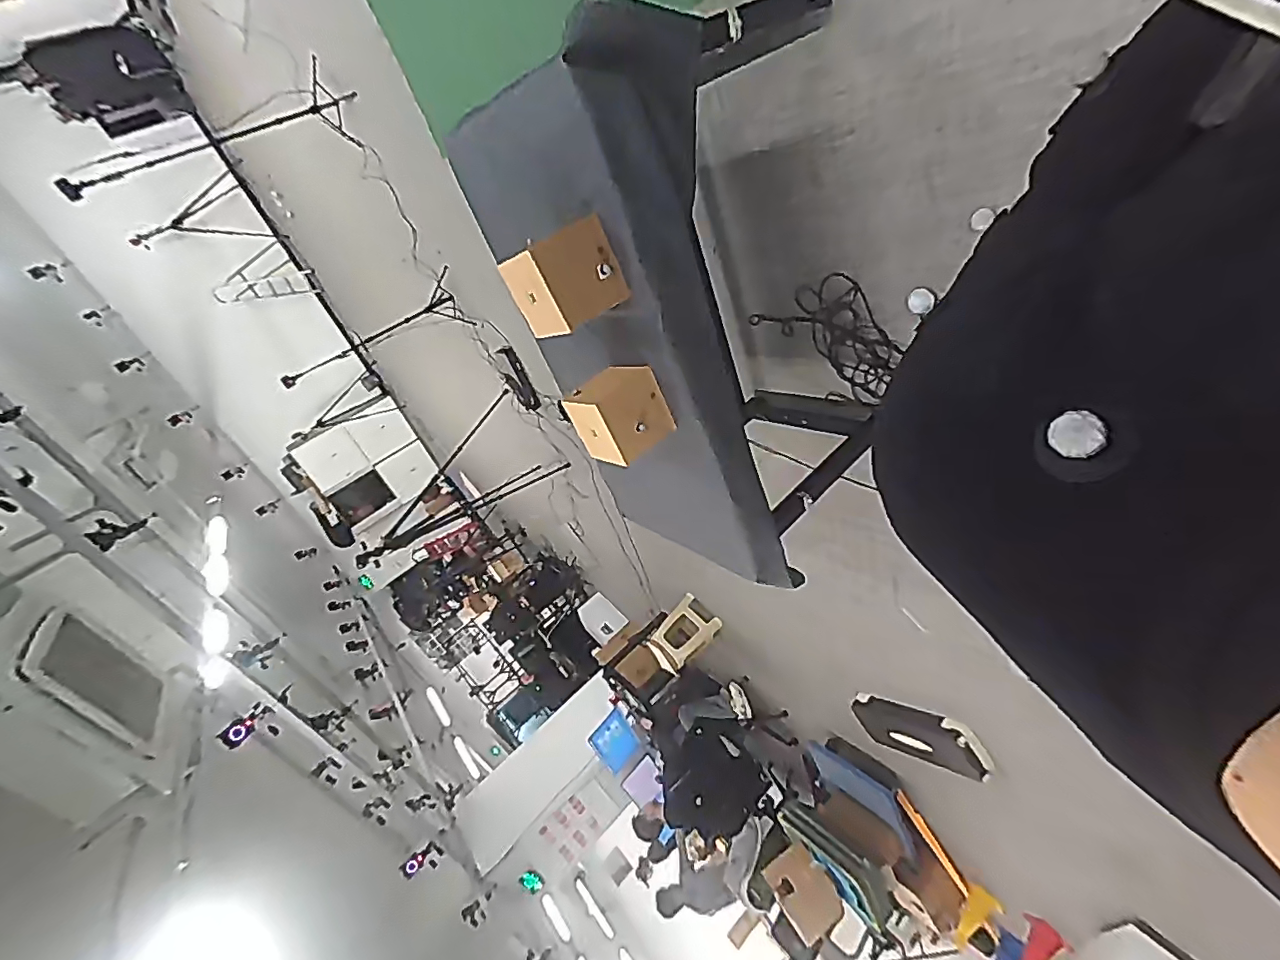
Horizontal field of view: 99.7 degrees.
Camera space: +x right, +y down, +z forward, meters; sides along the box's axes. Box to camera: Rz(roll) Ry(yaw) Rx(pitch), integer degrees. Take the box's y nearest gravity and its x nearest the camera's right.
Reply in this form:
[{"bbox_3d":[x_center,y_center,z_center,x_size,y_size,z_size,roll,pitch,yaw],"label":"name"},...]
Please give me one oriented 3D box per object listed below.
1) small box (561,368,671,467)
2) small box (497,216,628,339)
[{"bbox_3d":[-0.048,-0.153,1.274,0.179,0.176,0.168,16,139,55],"label":"small box"},{"bbox_3d":[-0.154,-0.404,1.095,0.179,0.176,0.168,13,138,55],"label":"small box"}]
